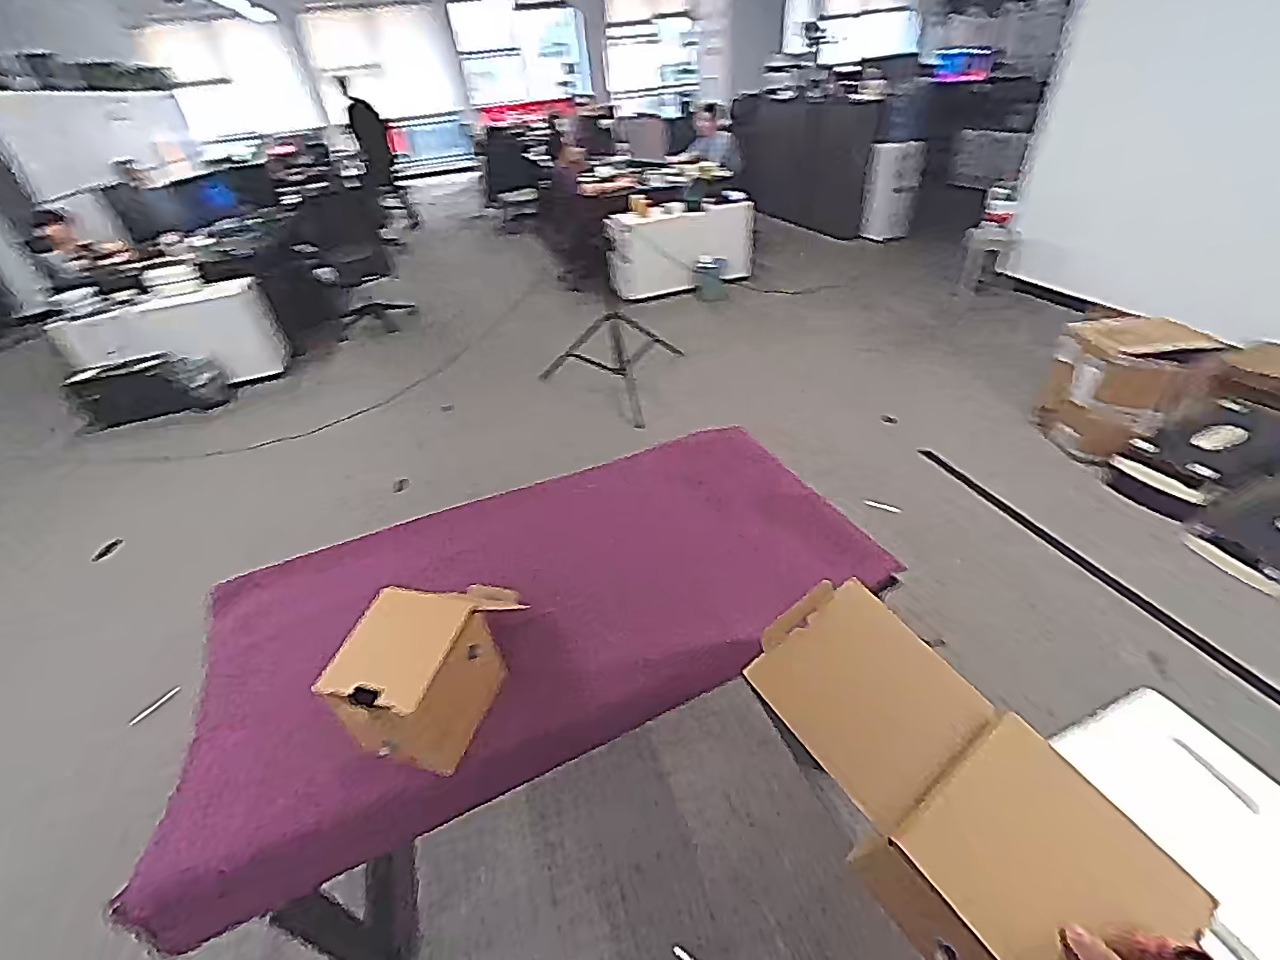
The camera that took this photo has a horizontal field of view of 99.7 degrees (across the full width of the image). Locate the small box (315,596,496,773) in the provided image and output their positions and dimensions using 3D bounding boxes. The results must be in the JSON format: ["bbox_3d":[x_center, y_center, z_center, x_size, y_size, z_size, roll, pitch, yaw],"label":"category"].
[{"bbox_3d":[-0.340,0.308,0.828,0.168,0.176,0.179,5,38,17],"label":"small box"}]
